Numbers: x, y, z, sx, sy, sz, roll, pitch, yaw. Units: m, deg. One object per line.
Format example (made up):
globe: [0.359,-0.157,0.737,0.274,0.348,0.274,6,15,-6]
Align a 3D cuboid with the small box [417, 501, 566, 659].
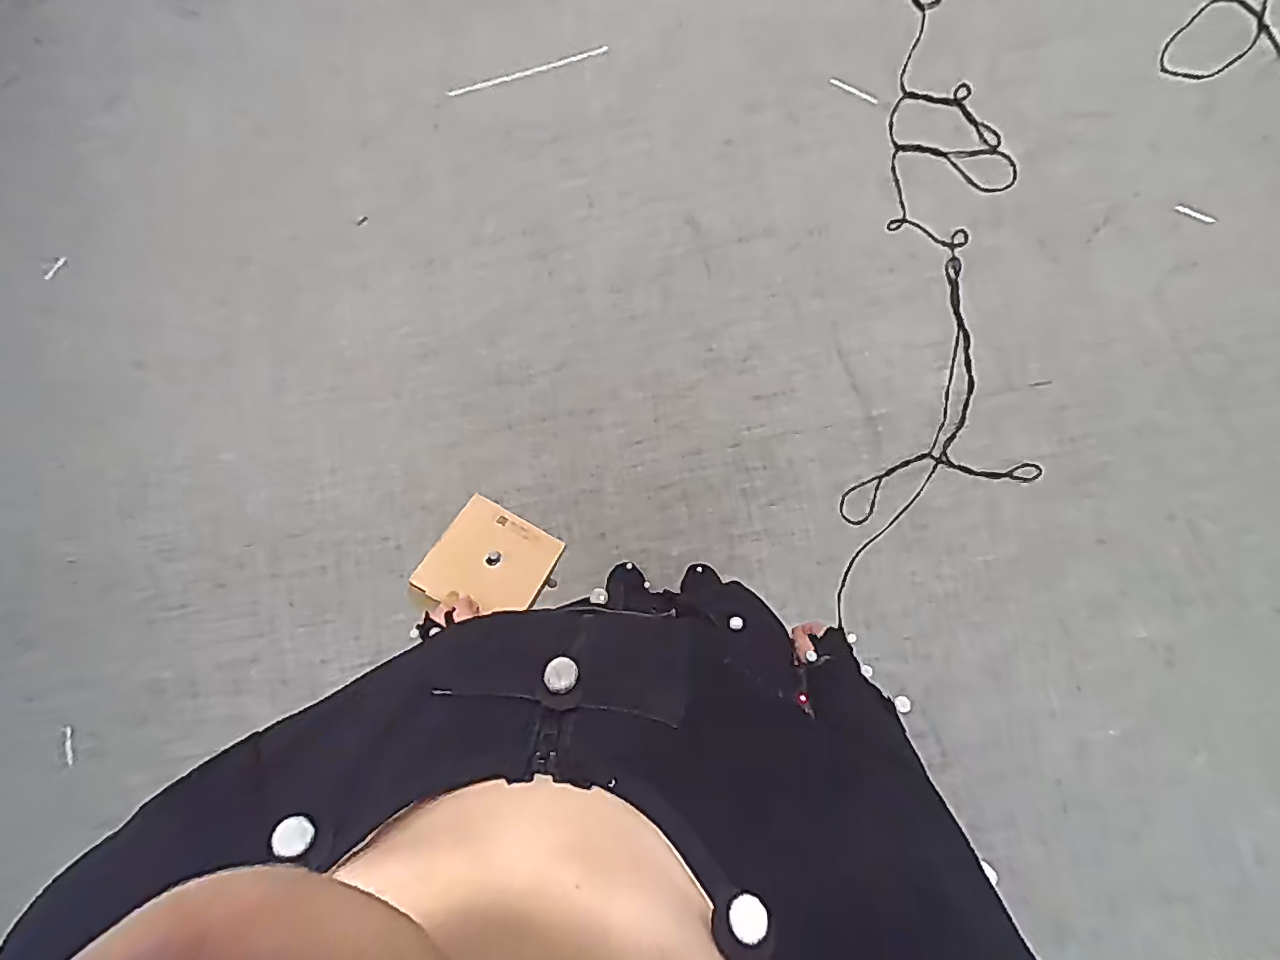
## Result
small box: [-0.235,0.161,0.872,0.168,0.179,0.176,28,57,-2]
